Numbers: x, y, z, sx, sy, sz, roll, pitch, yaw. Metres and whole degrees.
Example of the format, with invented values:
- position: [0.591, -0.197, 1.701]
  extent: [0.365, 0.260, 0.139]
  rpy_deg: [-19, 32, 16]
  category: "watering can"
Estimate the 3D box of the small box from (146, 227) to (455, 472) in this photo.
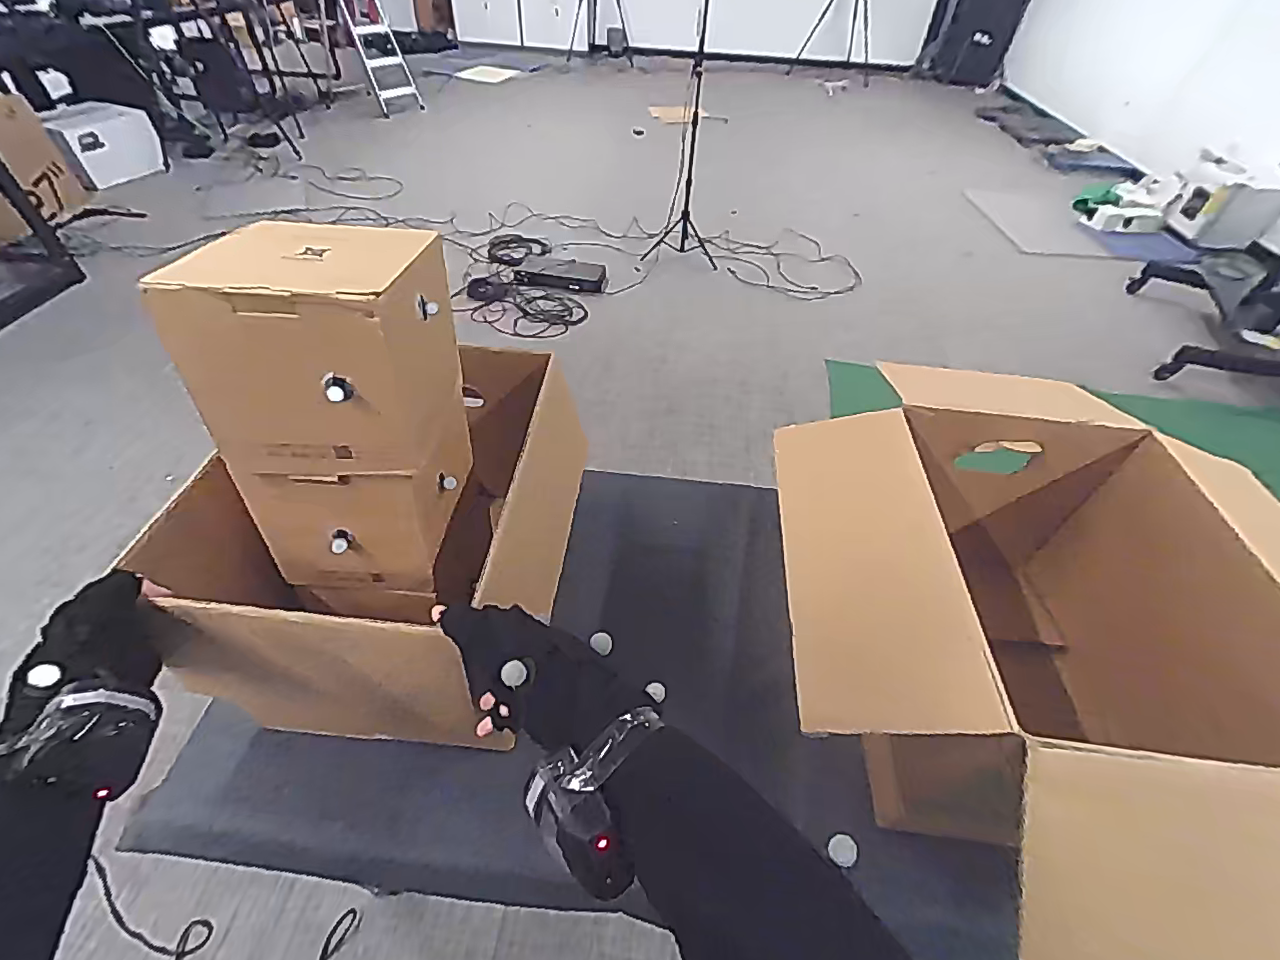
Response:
- position: [-0.282, -0.122, 0.507]
  extent: [0.168, 0.176, 0.179]
  rpy_deg: [3, 37, -4]
  category: "small box"
